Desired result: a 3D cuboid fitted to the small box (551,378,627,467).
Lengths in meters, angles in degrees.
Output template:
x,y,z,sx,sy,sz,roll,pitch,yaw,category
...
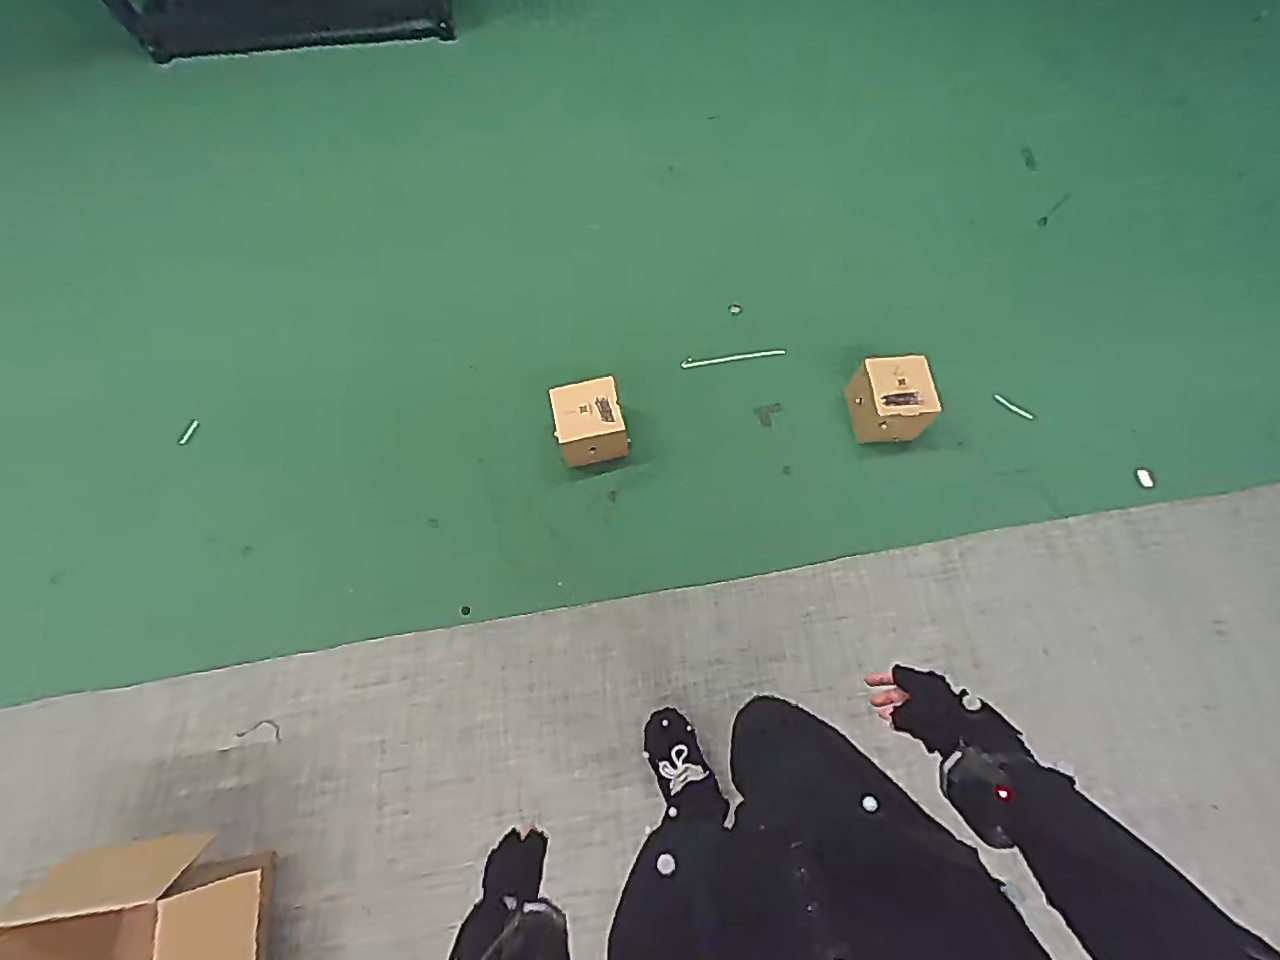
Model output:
x,y,z,sx,sy,sz,roll,pitch,yaw,category
-0.134,-0.152,1.473,0.179,0.176,0.168,-12,69,-3,small box
